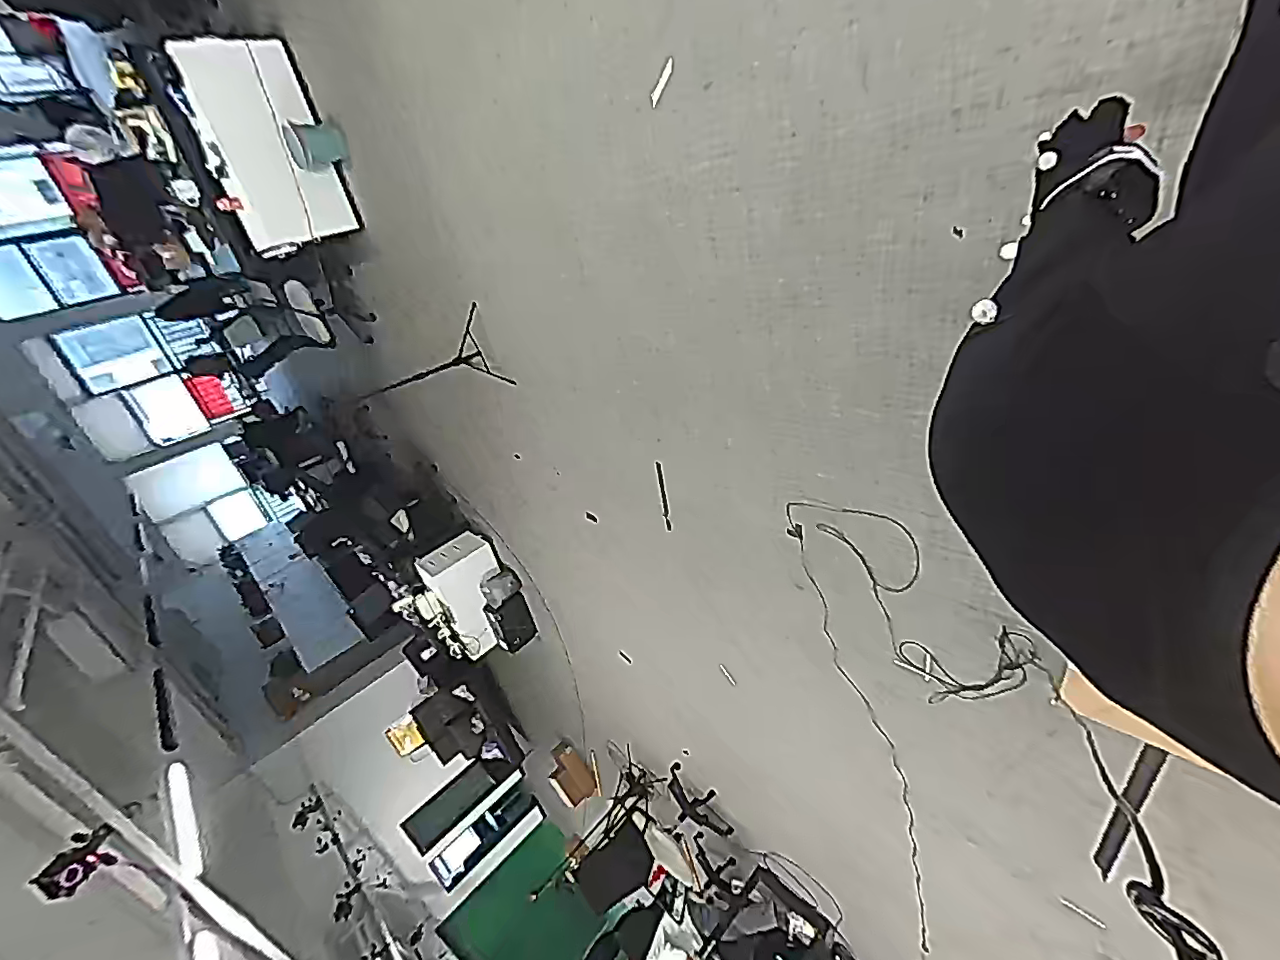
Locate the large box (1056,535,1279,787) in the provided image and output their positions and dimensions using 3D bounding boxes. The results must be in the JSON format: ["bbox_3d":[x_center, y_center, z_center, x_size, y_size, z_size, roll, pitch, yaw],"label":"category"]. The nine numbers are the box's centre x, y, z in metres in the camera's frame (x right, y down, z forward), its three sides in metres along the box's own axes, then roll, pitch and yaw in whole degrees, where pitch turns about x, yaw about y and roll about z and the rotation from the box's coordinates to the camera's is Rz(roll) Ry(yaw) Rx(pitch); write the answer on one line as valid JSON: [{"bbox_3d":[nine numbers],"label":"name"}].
[{"bbox_3d":[1.235,0.375,1.202,0.408,0.320,0.320,19,132,43],"label":"large box"}]
